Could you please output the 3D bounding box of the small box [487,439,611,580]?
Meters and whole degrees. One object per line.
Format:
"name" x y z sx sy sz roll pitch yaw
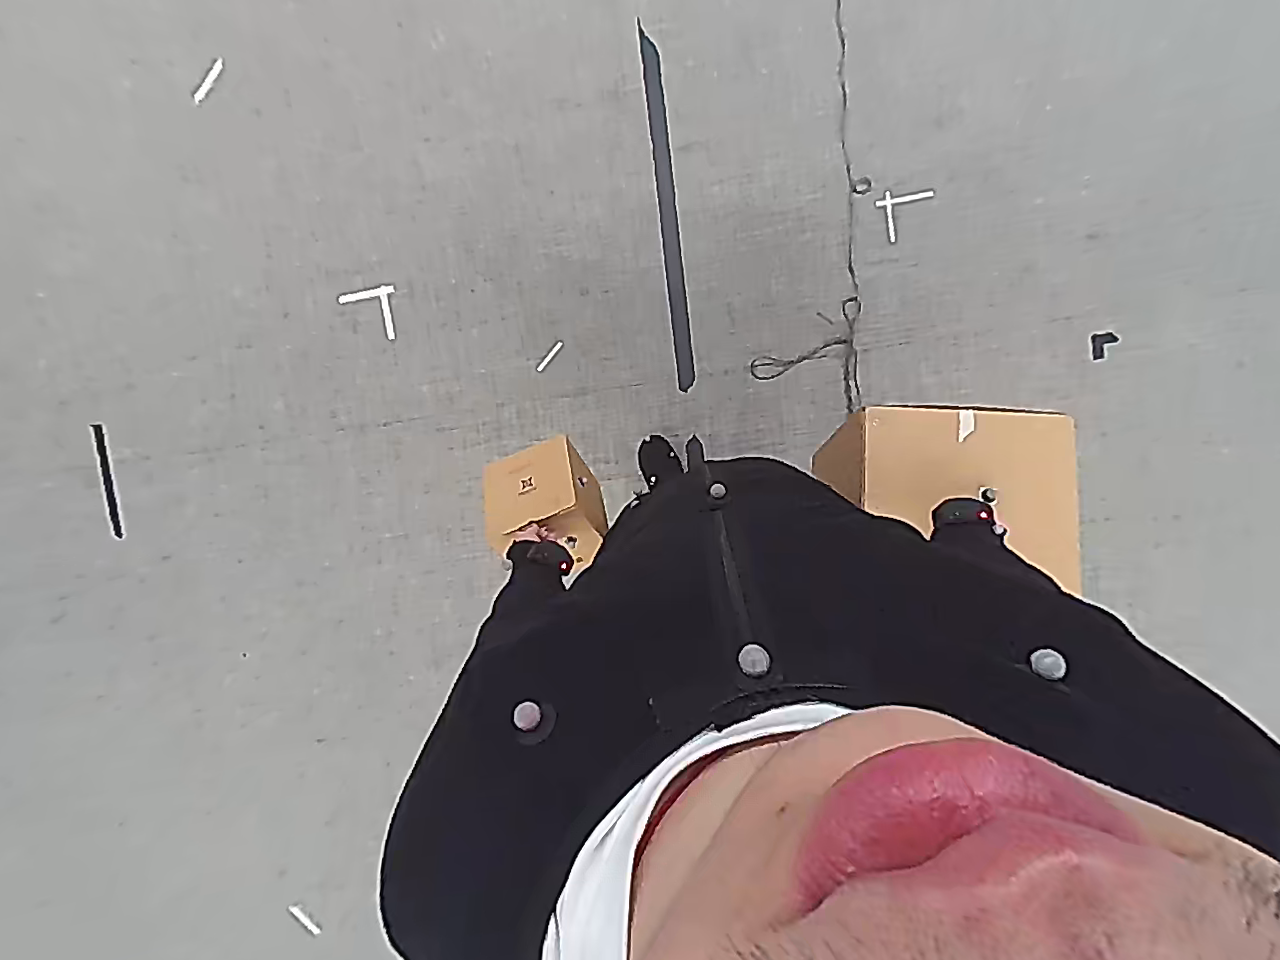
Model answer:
"small box" -0.165 0.063 0.993 0.168 0.176 0.179 -22 47 7
